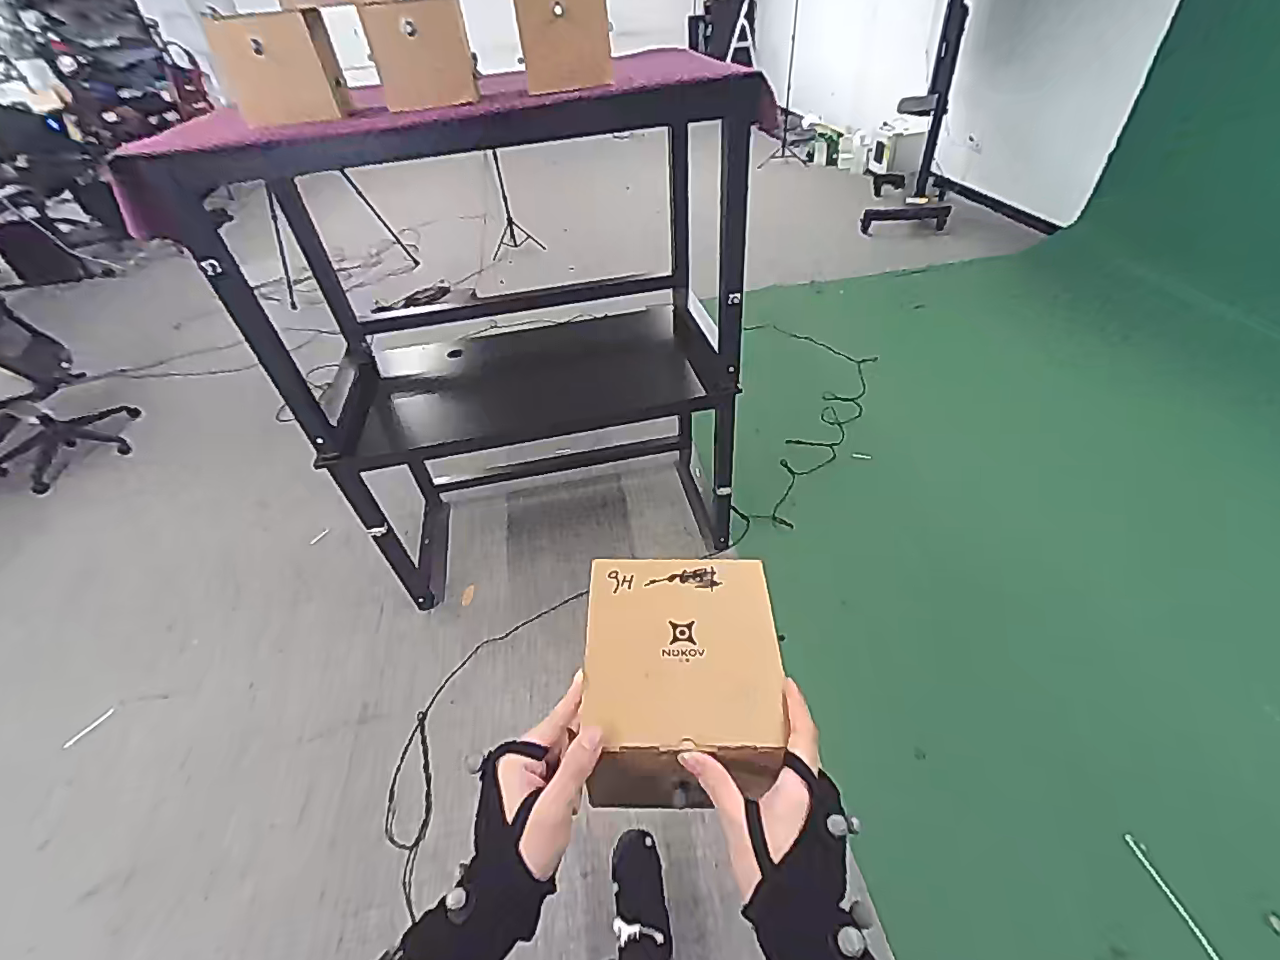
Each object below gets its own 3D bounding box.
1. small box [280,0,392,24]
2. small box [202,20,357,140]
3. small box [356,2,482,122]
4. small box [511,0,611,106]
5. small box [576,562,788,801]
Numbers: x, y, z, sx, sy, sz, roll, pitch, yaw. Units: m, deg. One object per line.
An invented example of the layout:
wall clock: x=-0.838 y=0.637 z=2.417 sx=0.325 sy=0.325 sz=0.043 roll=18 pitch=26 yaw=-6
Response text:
small box: x=-0.569 y=-0.939 z=0.971 sx=0.168 sy=0.176 sz=0.179 roll=-9 pitch=42 yaw=-4
small box: x=-0.694 y=-0.789 z=1.066 sx=0.179 sy=0.176 sz=0.168 roll=-12 pitch=44 yaw=-6
small box: x=-0.430 y=-0.833 z=1.082 sx=0.179 sy=0.176 sz=0.168 roll=-11 pitch=43 yaw=-4
small box: x=-0.158 y=-0.889 z=1.106 sx=0.179 sy=0.176 sz=0.168 roll=-12 pitch=42 yaw=-4
small box: x=0.034 y=0.198 z=0.525 sx=0.168 sy=0.176 sz=0.179 roll=0 pitch=47 yaw=0
